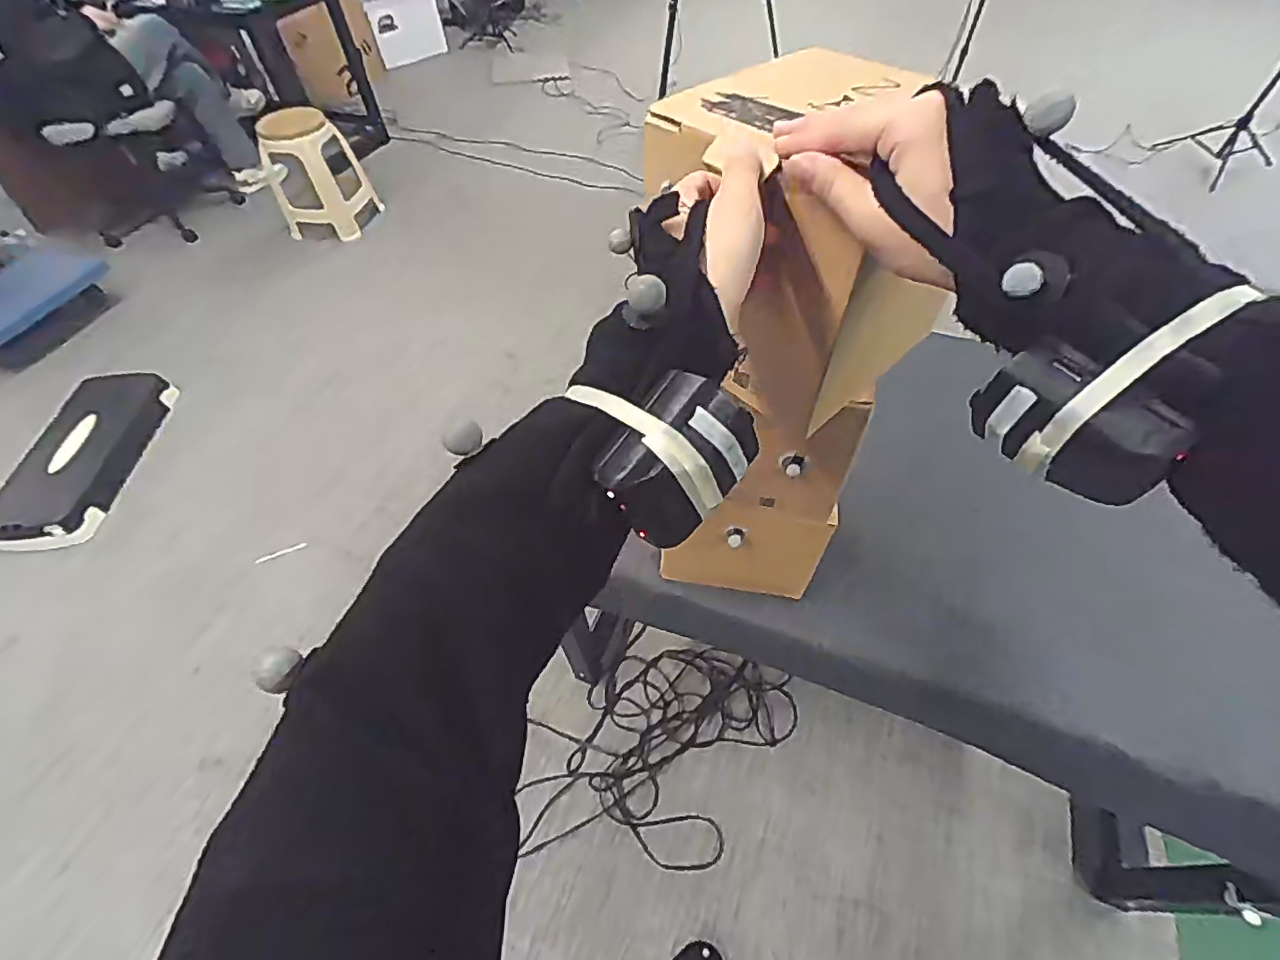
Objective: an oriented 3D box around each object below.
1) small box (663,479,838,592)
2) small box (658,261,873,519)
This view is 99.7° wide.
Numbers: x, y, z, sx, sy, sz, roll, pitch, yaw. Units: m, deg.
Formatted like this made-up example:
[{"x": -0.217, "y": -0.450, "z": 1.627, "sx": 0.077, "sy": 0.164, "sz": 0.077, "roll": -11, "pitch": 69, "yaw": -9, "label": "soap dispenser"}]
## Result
[{"x": 0.127, "y": 0.019, "z": 0.650, "sx": 0.179, "sy": 0.176, "sz": 0.168, "roll": 7, "pitch": 53, "yaw": 9, "label": "small box"}, {"x": 0.116, "y": -0.084, "z": 0.525, "sx": 0.168, "sy": 0.176, "sz": 0.179, "roll": 10, "pitch": 52, "yaw": 9, "label": "small box"}]
